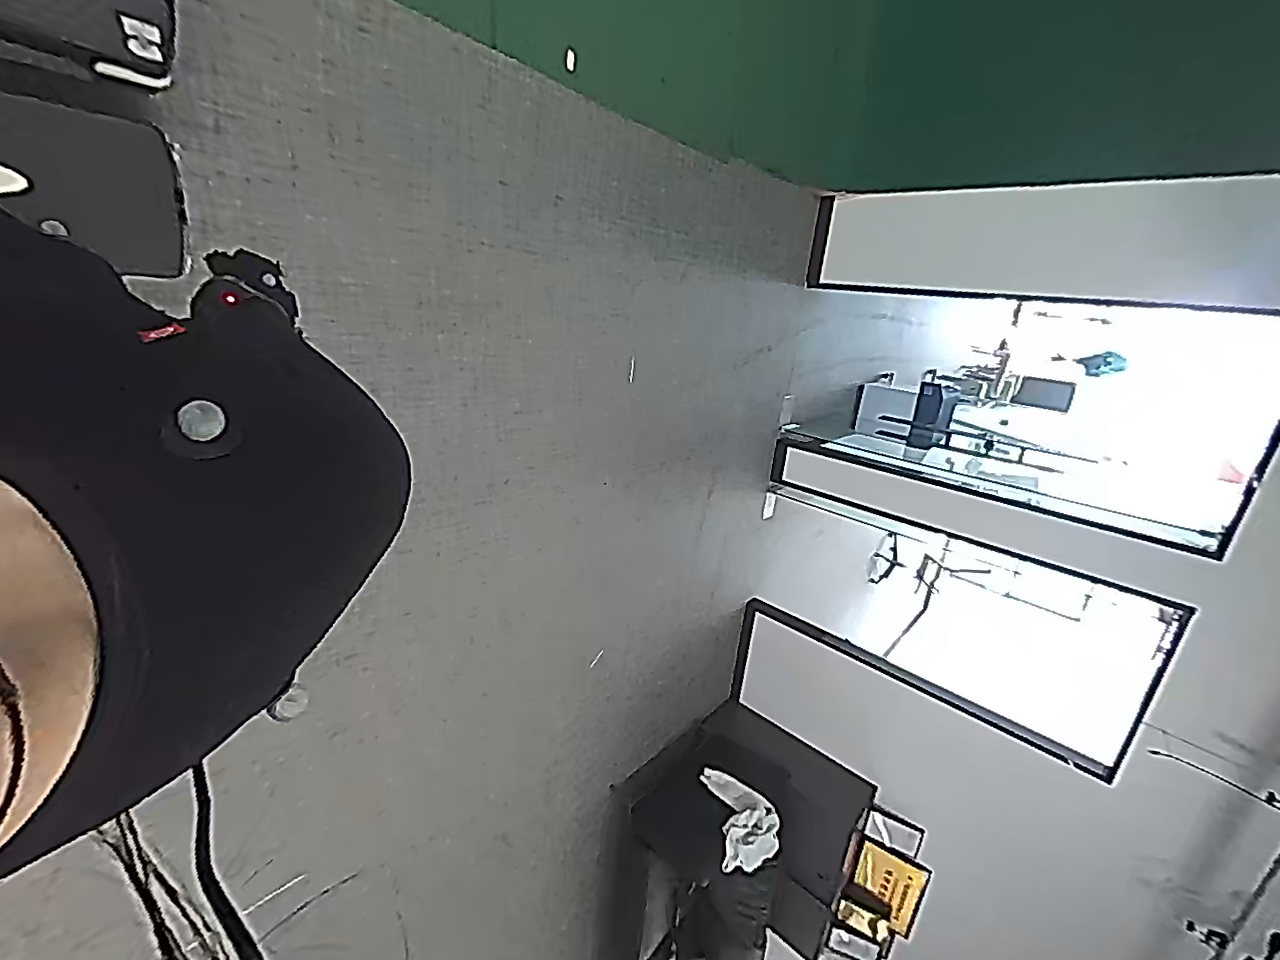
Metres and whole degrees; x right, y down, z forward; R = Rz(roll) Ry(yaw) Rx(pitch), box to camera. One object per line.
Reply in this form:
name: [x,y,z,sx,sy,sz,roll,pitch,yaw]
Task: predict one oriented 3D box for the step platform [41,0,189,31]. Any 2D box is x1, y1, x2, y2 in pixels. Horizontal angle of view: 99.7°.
step platform: [-0.913,-0.763,0.550,0.684,0.204,0.286,-14,118,-46]
